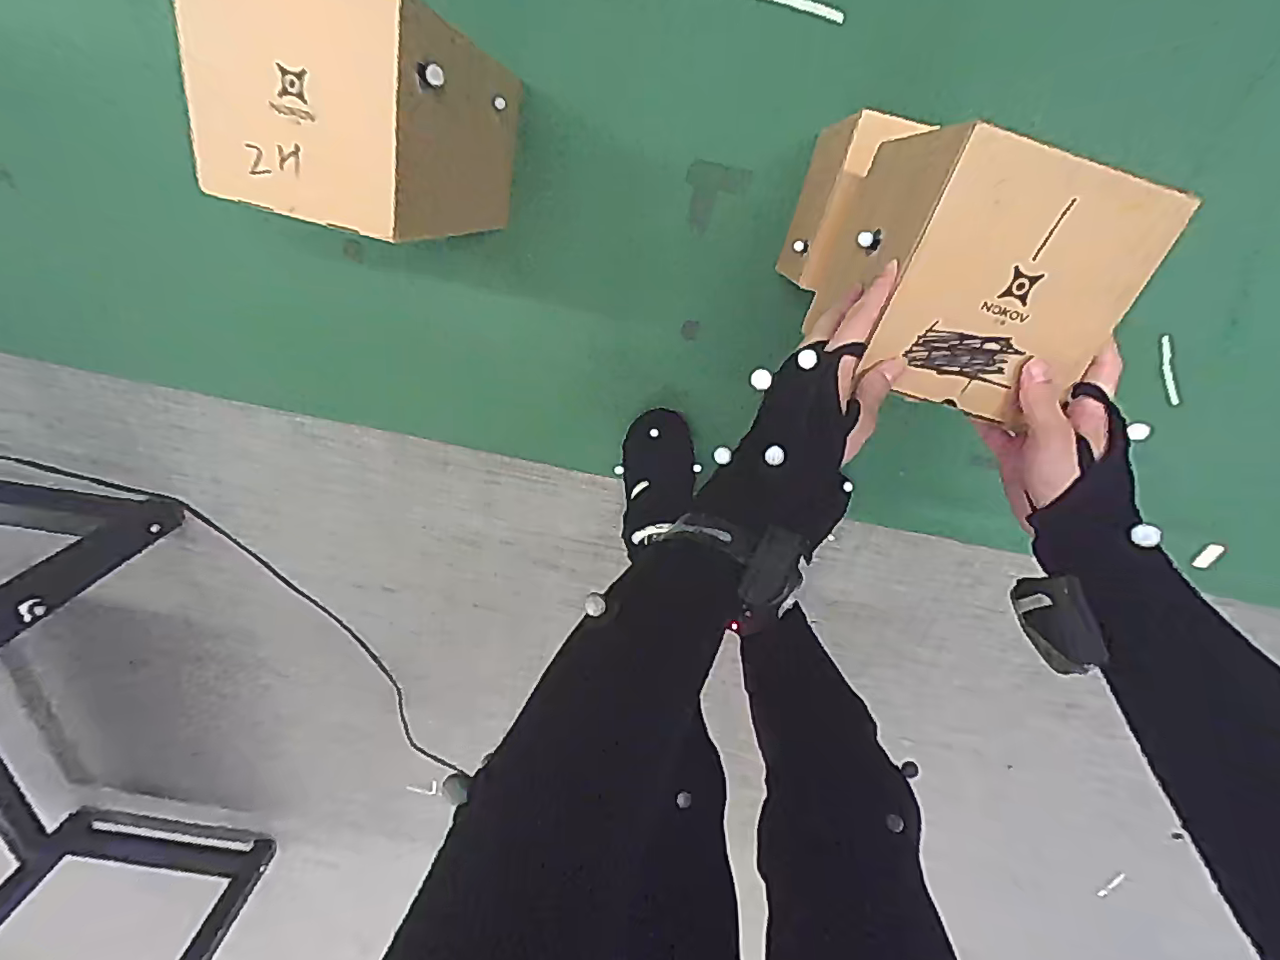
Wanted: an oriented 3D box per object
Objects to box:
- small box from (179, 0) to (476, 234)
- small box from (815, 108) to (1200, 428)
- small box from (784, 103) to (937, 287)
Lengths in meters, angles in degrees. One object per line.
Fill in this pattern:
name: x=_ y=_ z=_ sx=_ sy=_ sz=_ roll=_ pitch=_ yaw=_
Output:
small box: x=-0.257 y=-0.336 z=0.482 sx=0.168 sy=0.176 sz=0.179 roll=14 pitch=117 yaw=-3
small box: x=0.265 y=-0.172 z=0.449 sx=0.168 sy=0.176 sz=0.179 roll=15 pitch=117 yaw=-6
small box: x=0.285 y=-0.315 z=0.643 sx=0.168 sy=0.176 sz=0.179 roll=13 pitch=118 yaw=-3
